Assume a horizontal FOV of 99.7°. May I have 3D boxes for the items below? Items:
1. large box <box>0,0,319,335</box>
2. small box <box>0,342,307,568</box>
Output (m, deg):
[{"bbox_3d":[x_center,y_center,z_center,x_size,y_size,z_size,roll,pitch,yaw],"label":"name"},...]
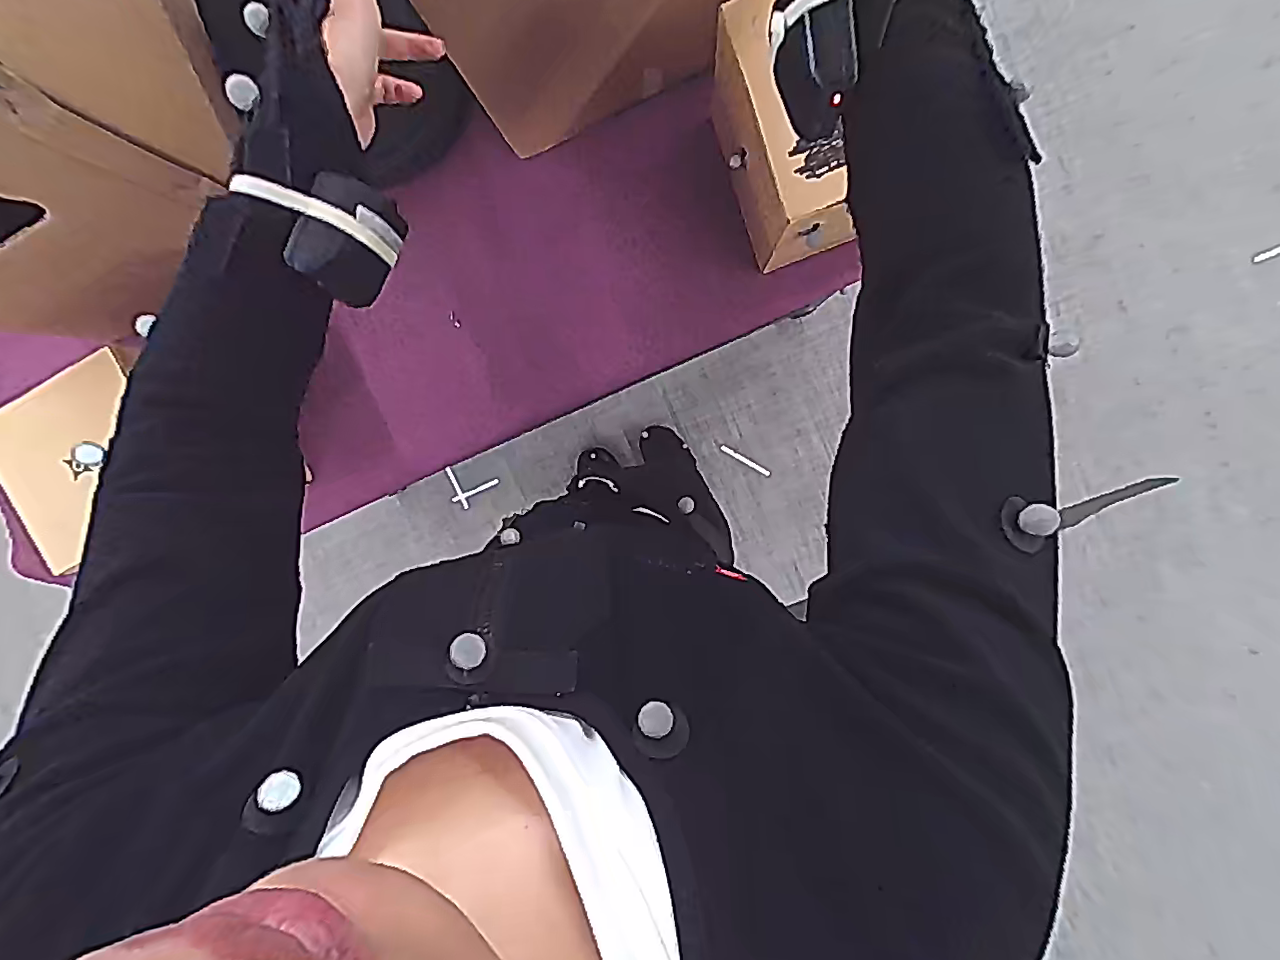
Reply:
[{"bbox_3d":[-0.601,-0.393,0.484,0.320,0.320,0.408,-25,97,8],"label":"large box"},{"bbox_3d":[-0.523,-0.027,0.595,0.179,0.176,0.168,-26,93,6],"label":"small box"}]
